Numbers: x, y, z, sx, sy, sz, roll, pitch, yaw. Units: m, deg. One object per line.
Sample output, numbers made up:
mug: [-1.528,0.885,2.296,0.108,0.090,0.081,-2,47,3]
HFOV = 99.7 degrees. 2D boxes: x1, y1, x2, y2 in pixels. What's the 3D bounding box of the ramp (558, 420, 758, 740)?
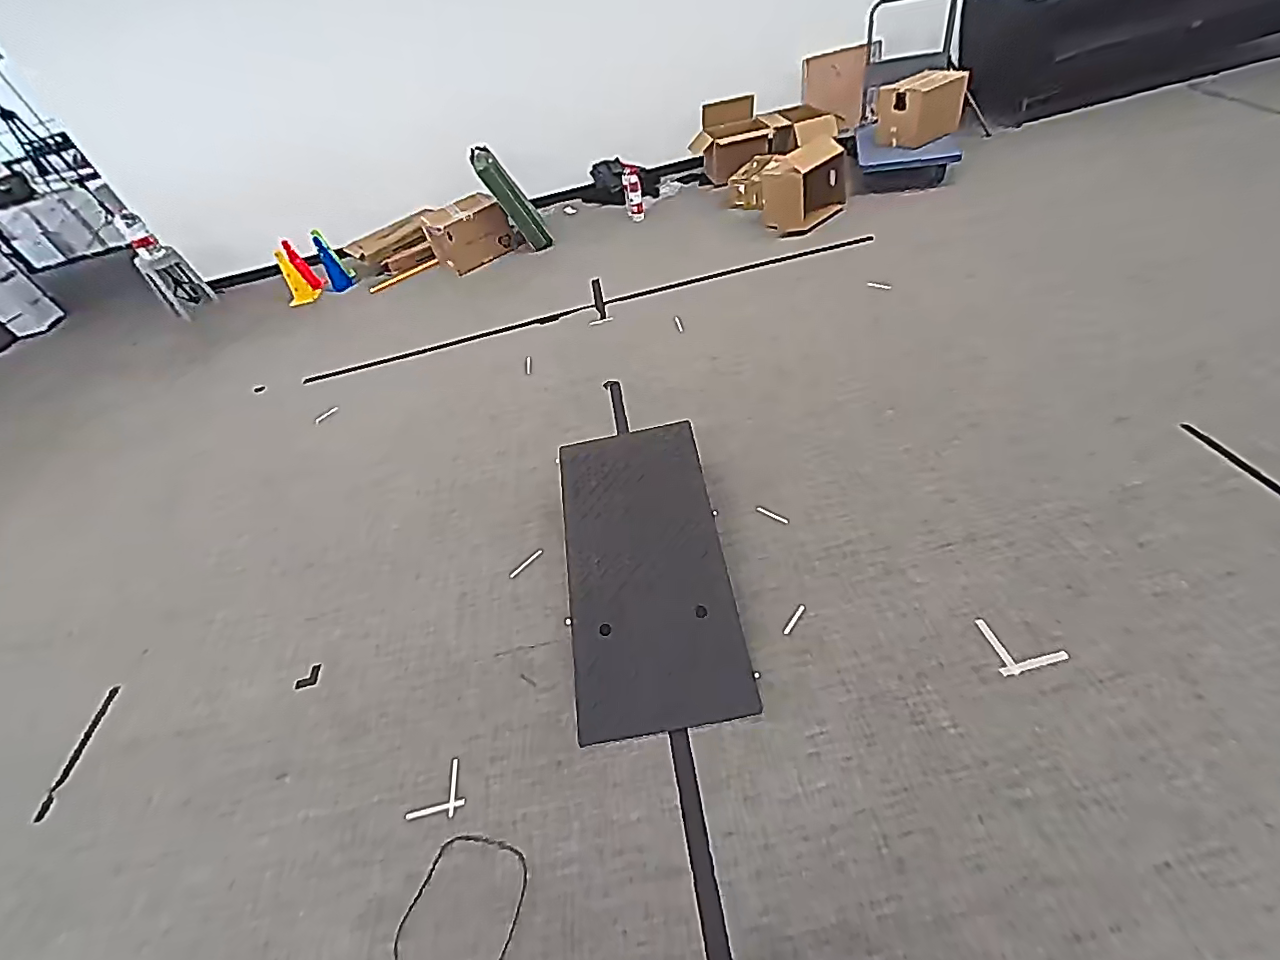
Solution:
ramp: [0.007,0.238,1.695,0.509,0.206,0.991,-12,45,1]
